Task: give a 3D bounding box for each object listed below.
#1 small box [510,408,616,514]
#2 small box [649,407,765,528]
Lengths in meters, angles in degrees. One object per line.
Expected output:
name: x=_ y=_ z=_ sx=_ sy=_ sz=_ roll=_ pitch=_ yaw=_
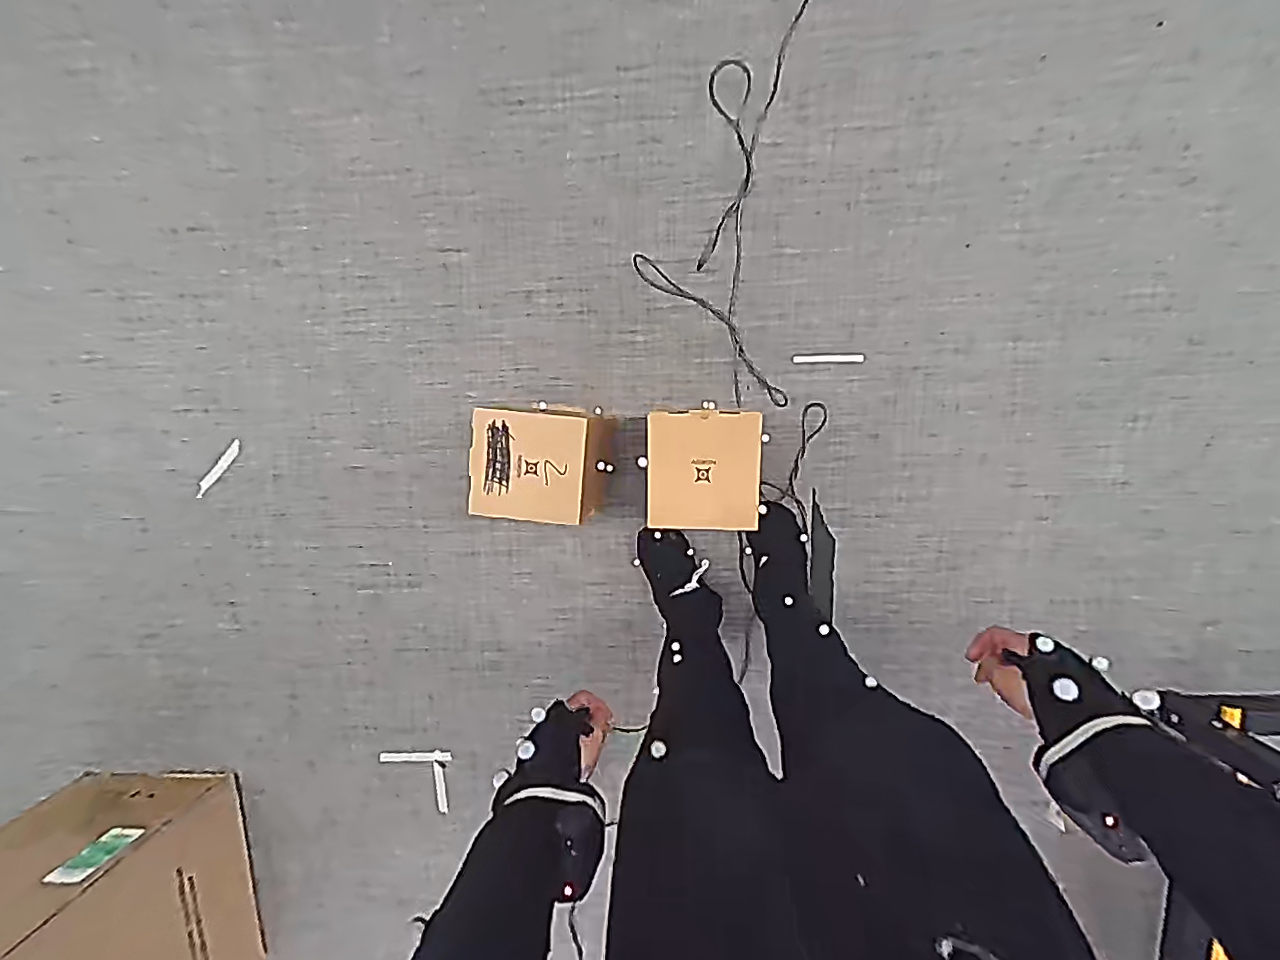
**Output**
small box: x=-0.142 y=-0.045 z=1.048 sx=0.168 sy=0.176 sz=0.179 roll=6 pitch=100 yaw=4
small box: x=0.105 y=-0.028 z=0.865 sx=0.168 sy=0.176 sz=0.179 roll=1 pitch=97 yaw=6
